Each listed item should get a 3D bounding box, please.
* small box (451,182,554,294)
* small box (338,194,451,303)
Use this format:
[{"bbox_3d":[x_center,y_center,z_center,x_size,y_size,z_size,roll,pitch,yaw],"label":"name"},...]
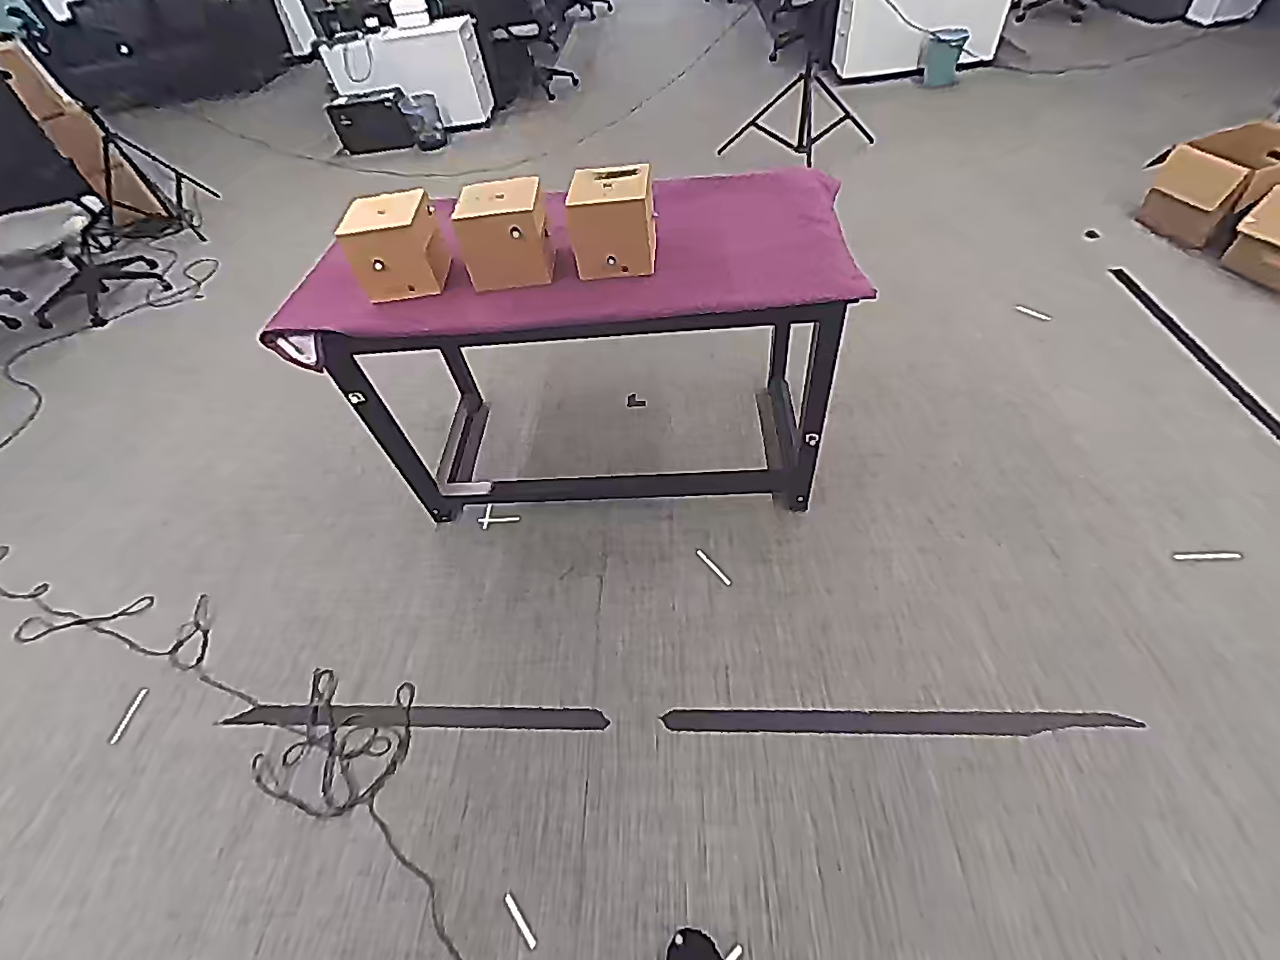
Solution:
[{"bbox_3d":[-0.296,-0.539,1.213,0.179,0.176,0.168,-6,49,3],"label":"small box"},{"bbox_3d":[-0.551,-0.522,1.240,0.168,0.176,0.179,-8,50,2],"label":"small box"}]
